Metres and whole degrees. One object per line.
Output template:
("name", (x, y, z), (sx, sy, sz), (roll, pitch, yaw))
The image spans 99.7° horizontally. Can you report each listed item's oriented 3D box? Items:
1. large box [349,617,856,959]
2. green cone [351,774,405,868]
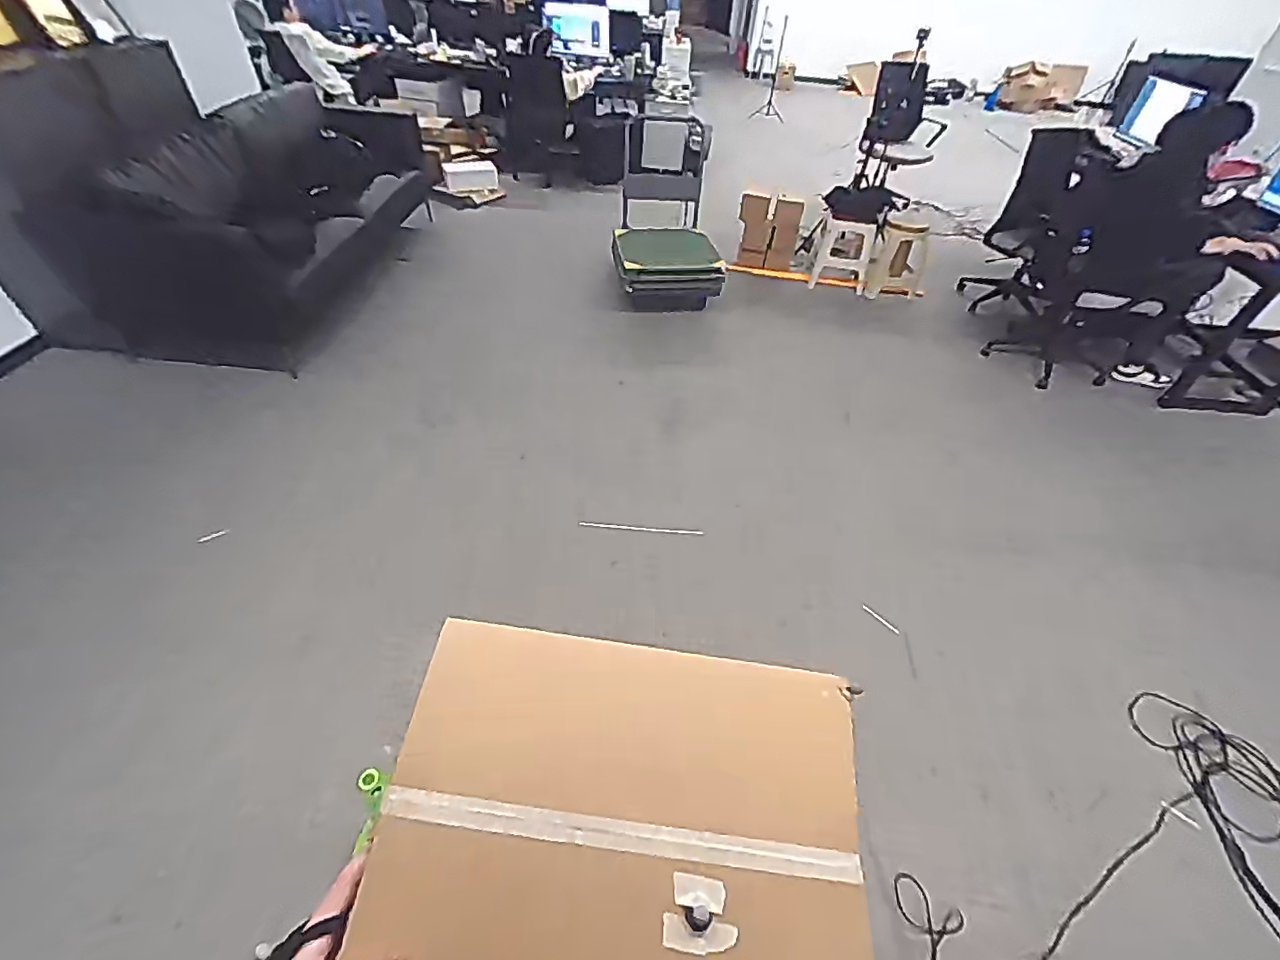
("large box", (-0.025, 0.370, 0.599), (0.408, 0.320, 0.320), (8, 59, 0))
("green cone", (-0.586, 0.749, 1.246), (0.200, 0.368, 0.202), (10, 46, 5))
